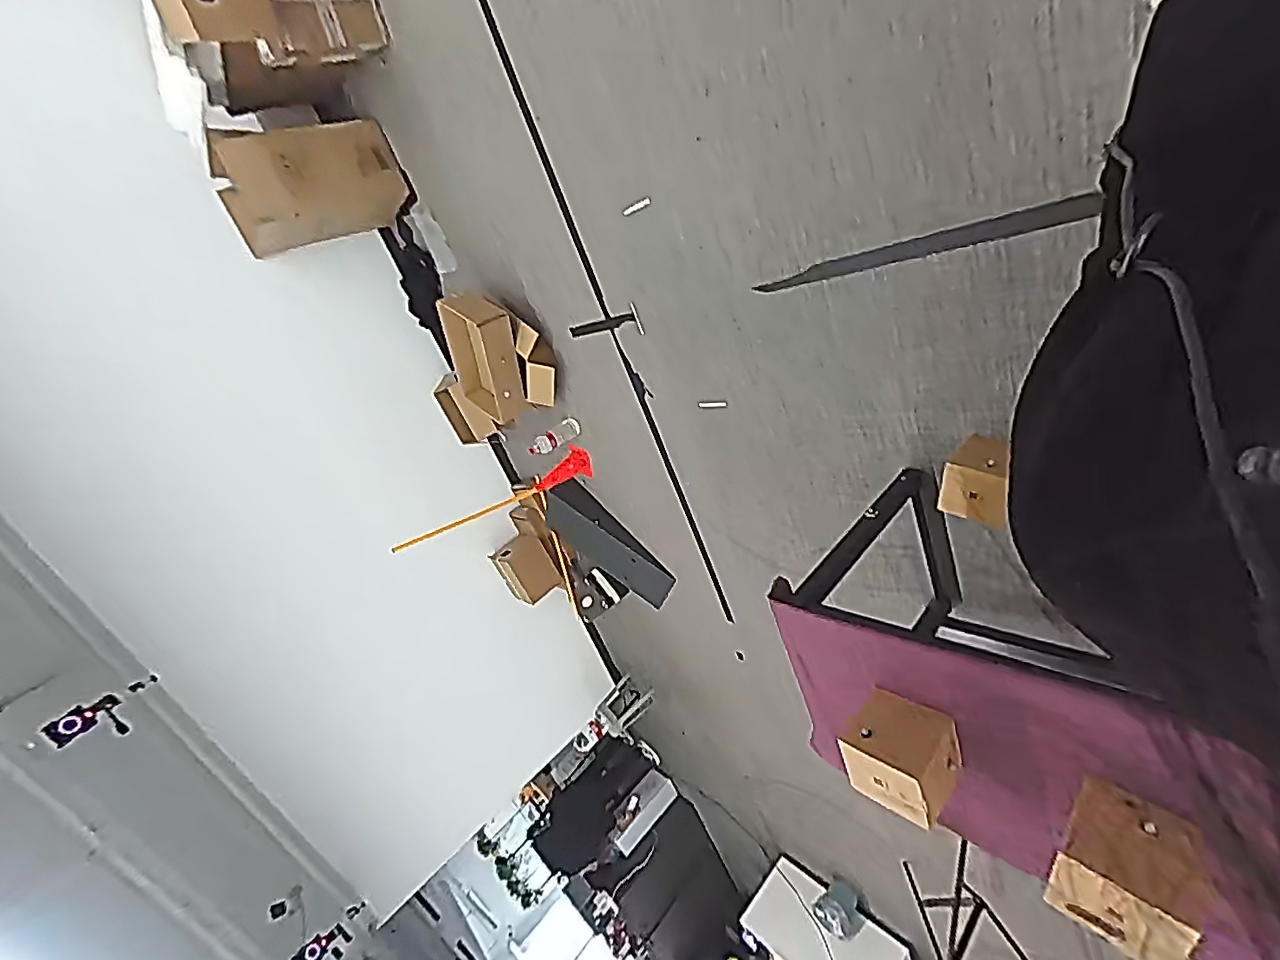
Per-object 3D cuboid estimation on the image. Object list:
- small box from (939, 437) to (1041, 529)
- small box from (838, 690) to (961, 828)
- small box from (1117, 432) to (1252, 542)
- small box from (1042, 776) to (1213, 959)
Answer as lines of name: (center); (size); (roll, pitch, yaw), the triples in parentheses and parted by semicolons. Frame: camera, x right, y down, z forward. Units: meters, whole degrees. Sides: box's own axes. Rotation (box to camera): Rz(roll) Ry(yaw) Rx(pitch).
small box: (0.957, 0.001, 1.484); (0.179, 0.176, 0.168); (24, 138, 40)
small box: (0.563, 0.590, 1.172); (0.179, 0.176, 0.168); (9, 128, 50)
small box: (1.181, 0.007, 1.177); (0.179, 0.176, 0.168); (12, 130, 49)
small box: (0.802, 0.643, 0.894); (0.168, 0.176, 0.179); (20, 135, 44)
